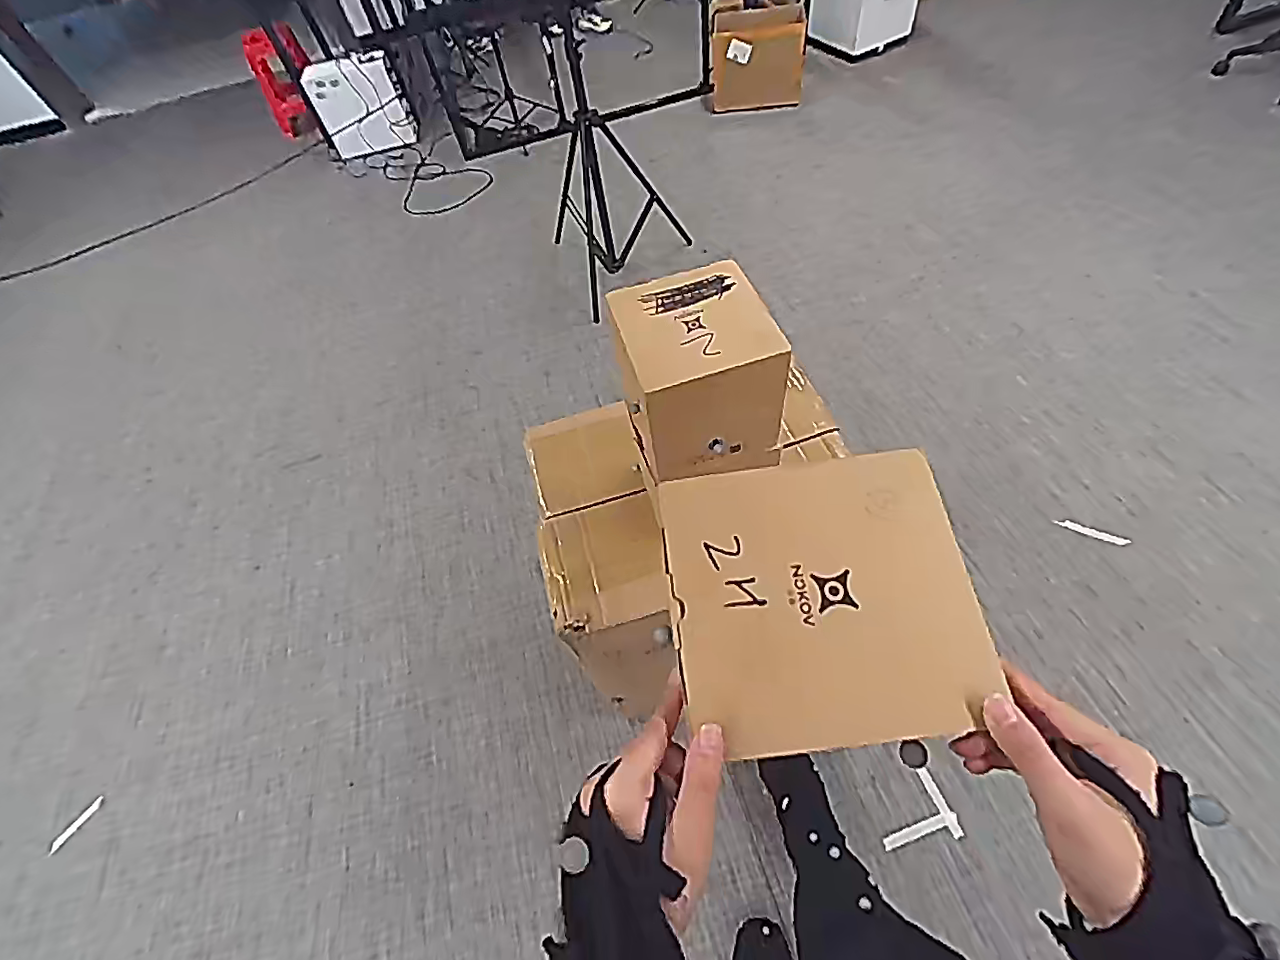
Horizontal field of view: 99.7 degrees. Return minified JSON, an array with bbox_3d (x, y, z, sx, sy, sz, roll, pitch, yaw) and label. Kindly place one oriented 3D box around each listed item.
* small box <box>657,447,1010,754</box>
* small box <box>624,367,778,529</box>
[{"bbox_3d":[0.109,0.094,0.392,0.179,0.176,0.168,-8,66,2],"label":"small box"},{"bbox_3d":[0.089,-0.034,0.806,0.179,0.176,0.168,-16,55,-3],"label":"small box"}]
